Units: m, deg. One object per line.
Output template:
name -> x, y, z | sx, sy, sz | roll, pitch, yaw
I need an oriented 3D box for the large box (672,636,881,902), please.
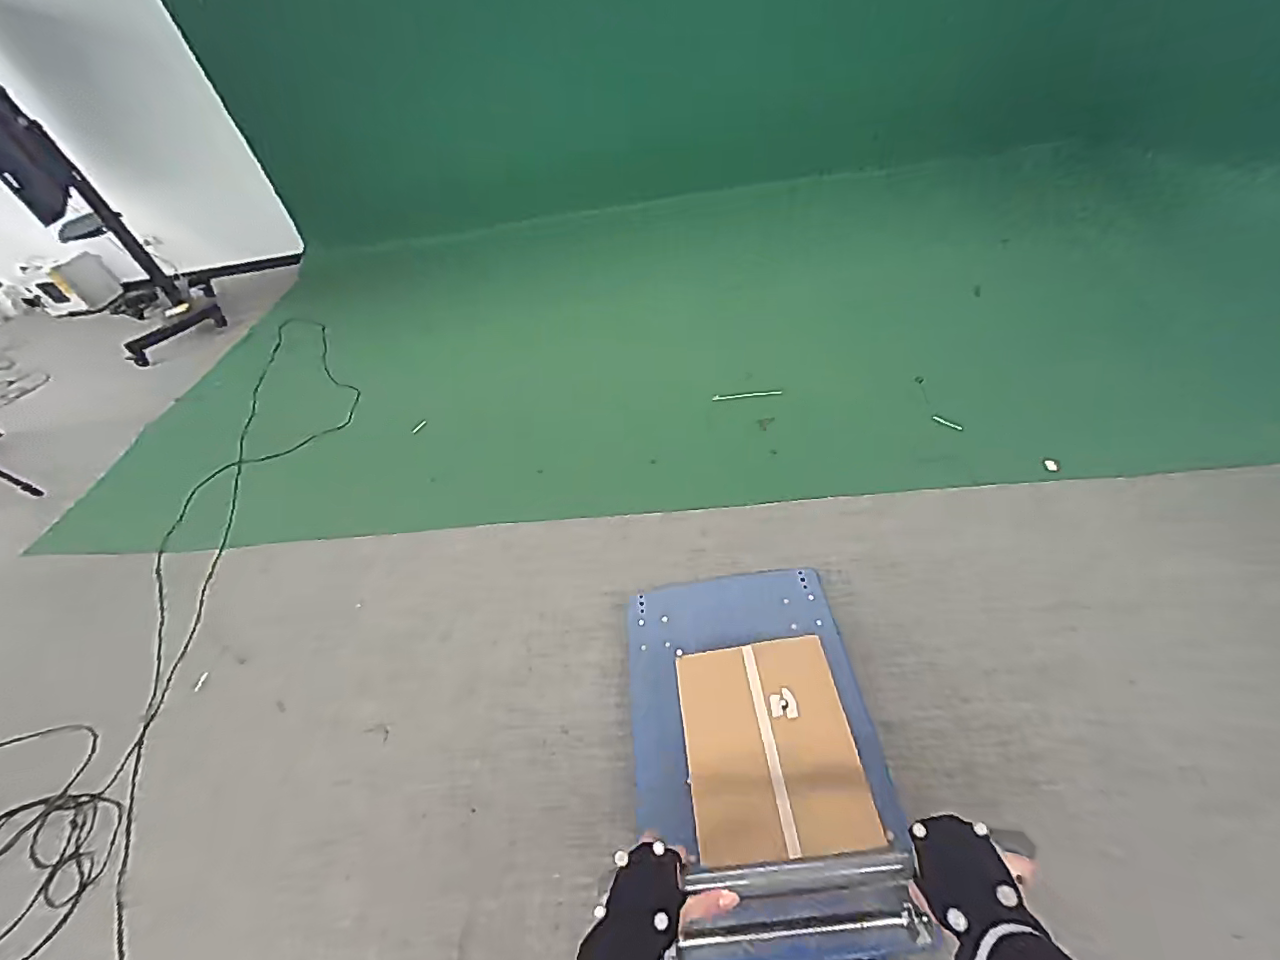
large box -> 0.264, 0.607, 1.147 | 0.320, 0.320, 0.408 | -10, 45, 4
